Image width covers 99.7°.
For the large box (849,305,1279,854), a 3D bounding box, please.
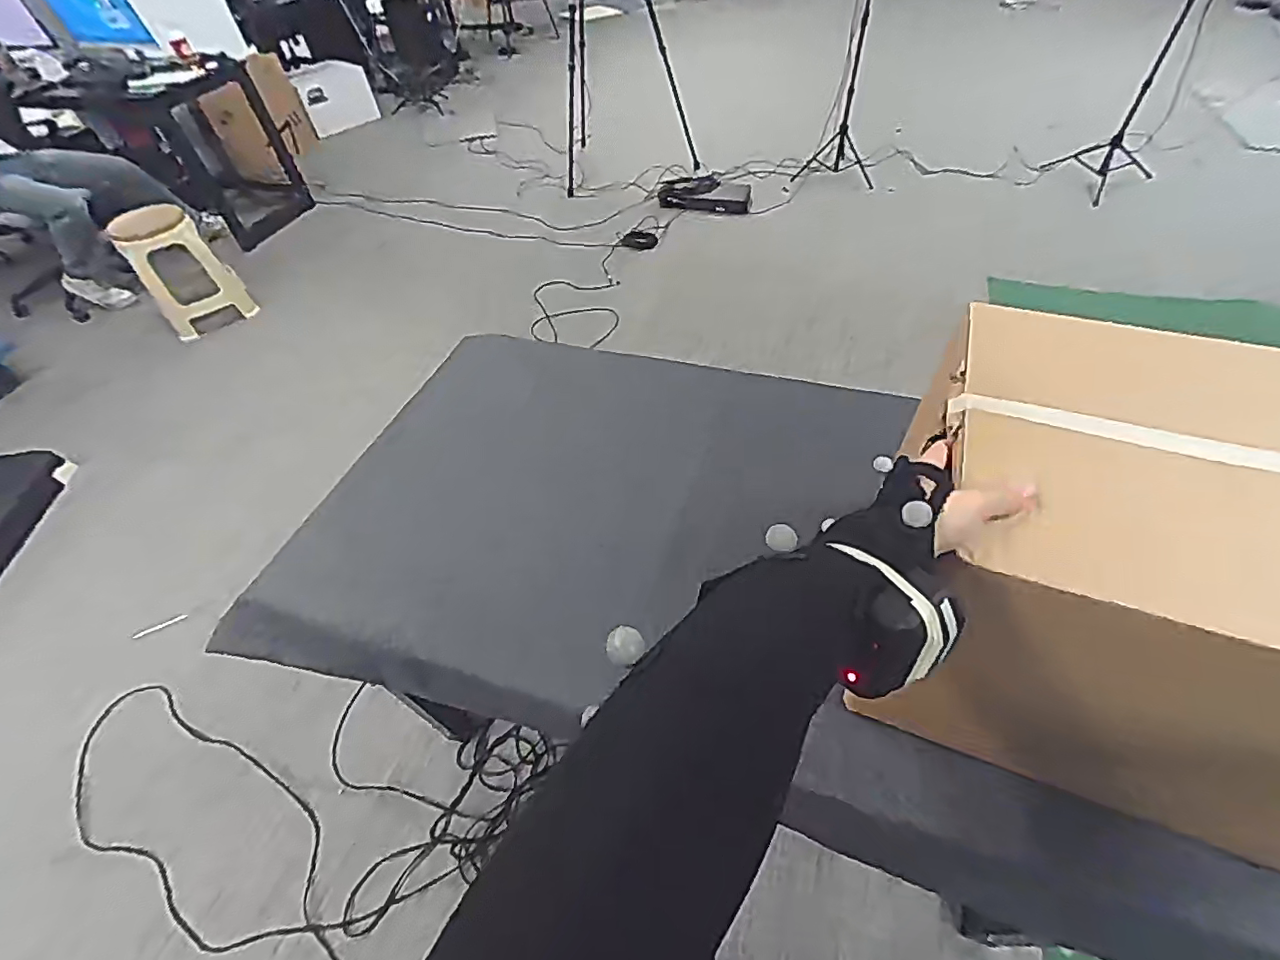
[{"bbox_3d":[0.451,0.083,0.501,0.408,0.320,0.320,16,54,16],"label":"large box"}]
